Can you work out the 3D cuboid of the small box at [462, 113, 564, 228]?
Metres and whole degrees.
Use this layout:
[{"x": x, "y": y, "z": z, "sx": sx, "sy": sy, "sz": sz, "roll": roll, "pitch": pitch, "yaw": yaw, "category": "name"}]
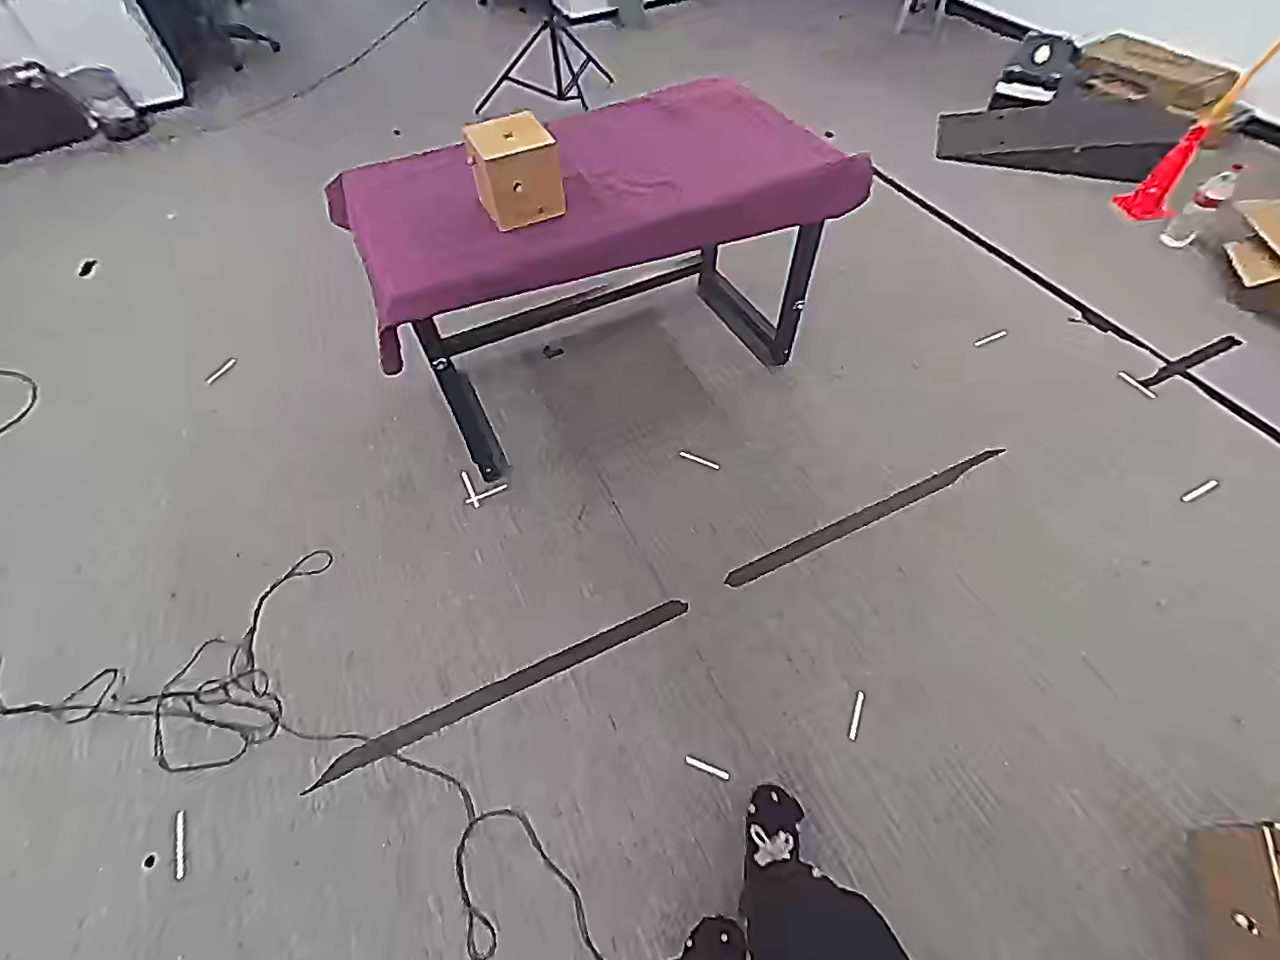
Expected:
[{"x": -0.291, "y": -0.718, "z": 1.268, "sx": 0.168, "sy": 0.176, "sz": 0.179, "roll": -24, "pitch": 58, "yaw": -13, "category": "small box"}]
